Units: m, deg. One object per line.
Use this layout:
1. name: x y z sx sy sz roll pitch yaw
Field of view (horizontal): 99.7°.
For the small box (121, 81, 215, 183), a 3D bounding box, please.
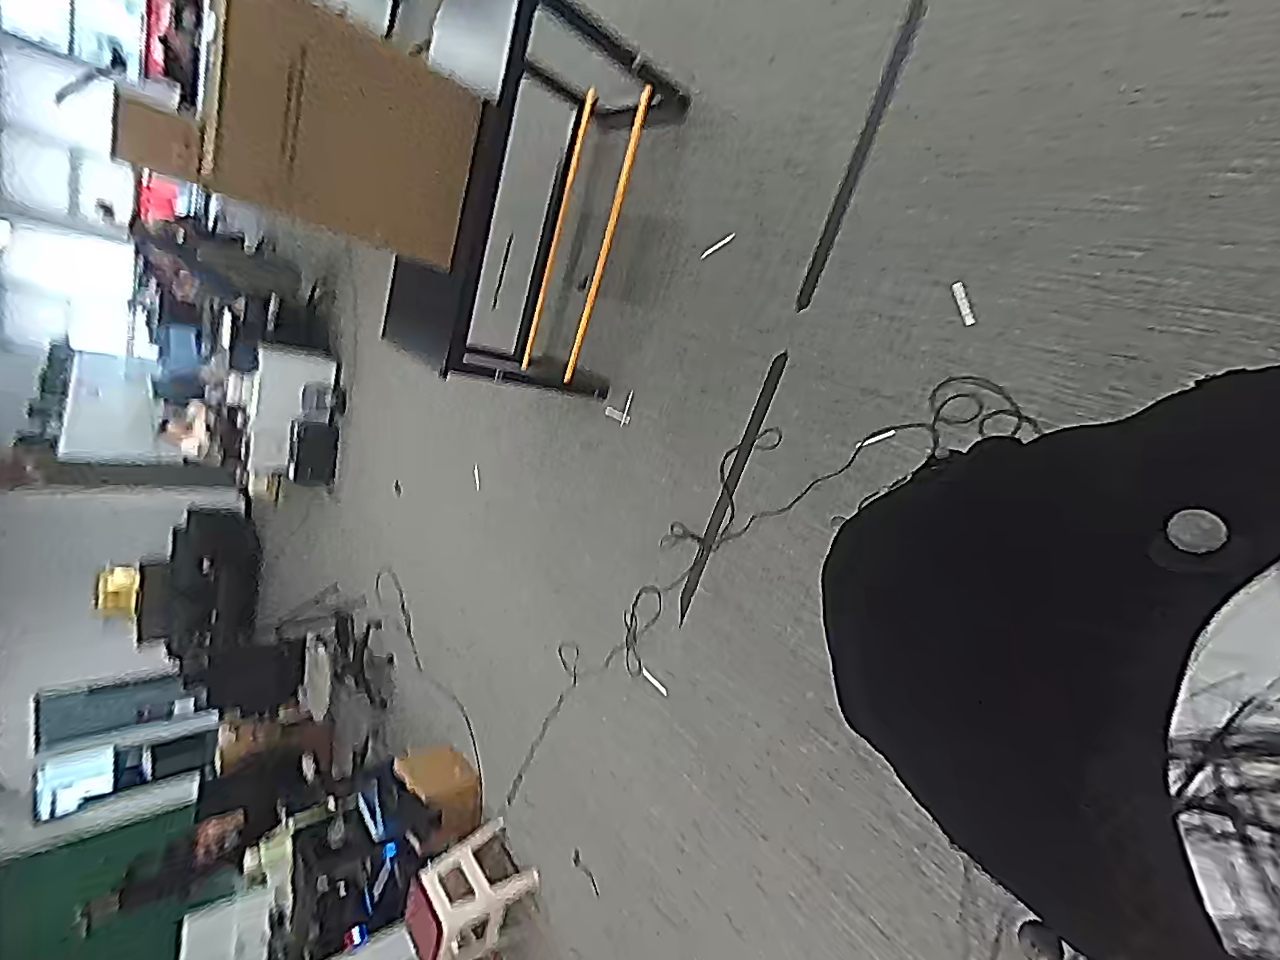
1. small box: -1.219 -0.886 1.396 0.179 0.176 0.168 28 109 43
